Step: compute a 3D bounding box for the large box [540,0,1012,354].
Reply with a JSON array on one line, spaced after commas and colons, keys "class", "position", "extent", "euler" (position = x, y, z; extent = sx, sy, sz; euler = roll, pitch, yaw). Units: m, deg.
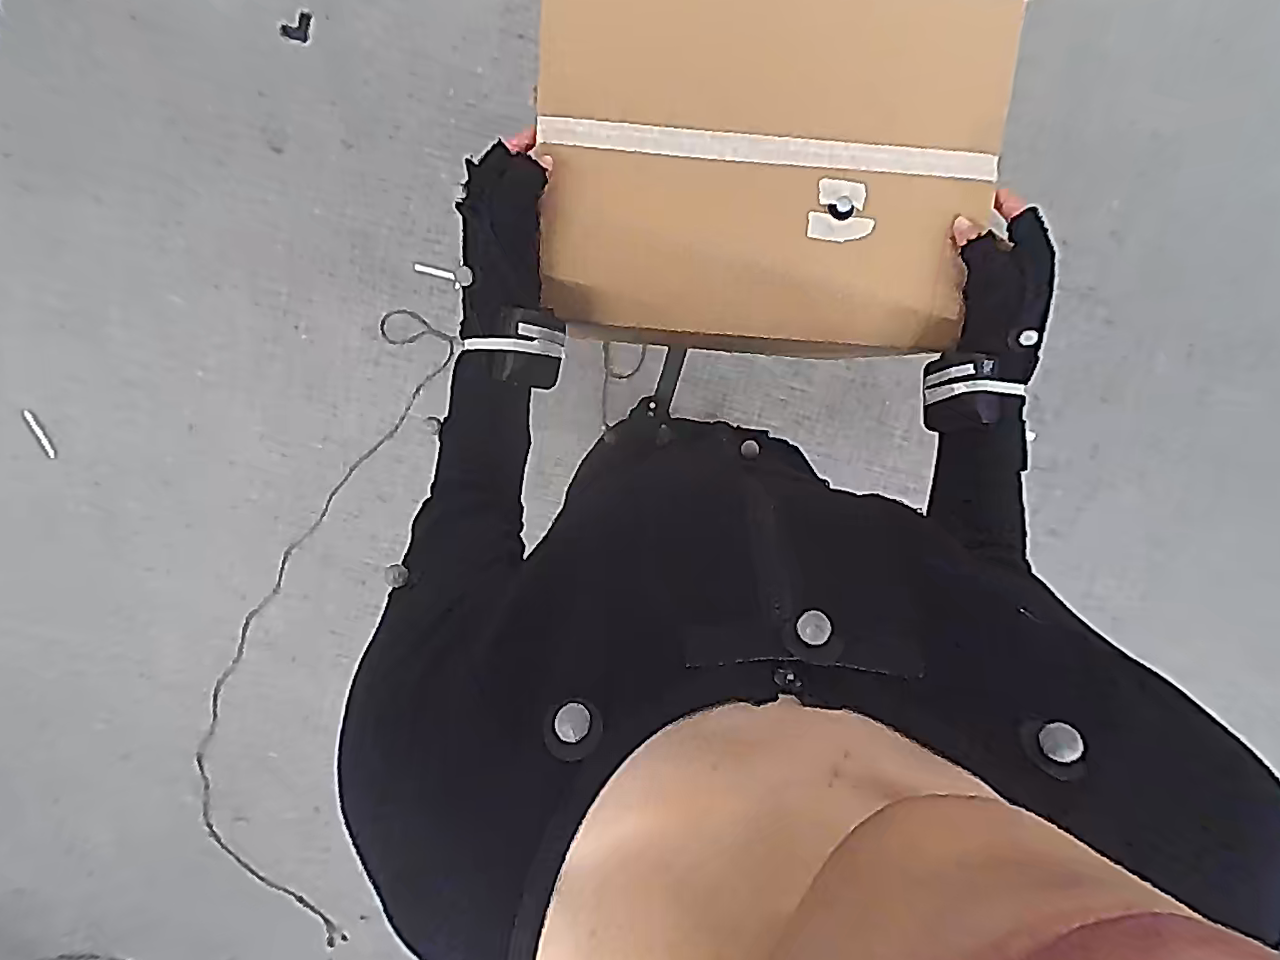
[{"class": "large box", "position": [0.108, -0.323, 0.630], "extent": [0.408, 0.320, 0.320], "euler": [5, 101, -3]}]
